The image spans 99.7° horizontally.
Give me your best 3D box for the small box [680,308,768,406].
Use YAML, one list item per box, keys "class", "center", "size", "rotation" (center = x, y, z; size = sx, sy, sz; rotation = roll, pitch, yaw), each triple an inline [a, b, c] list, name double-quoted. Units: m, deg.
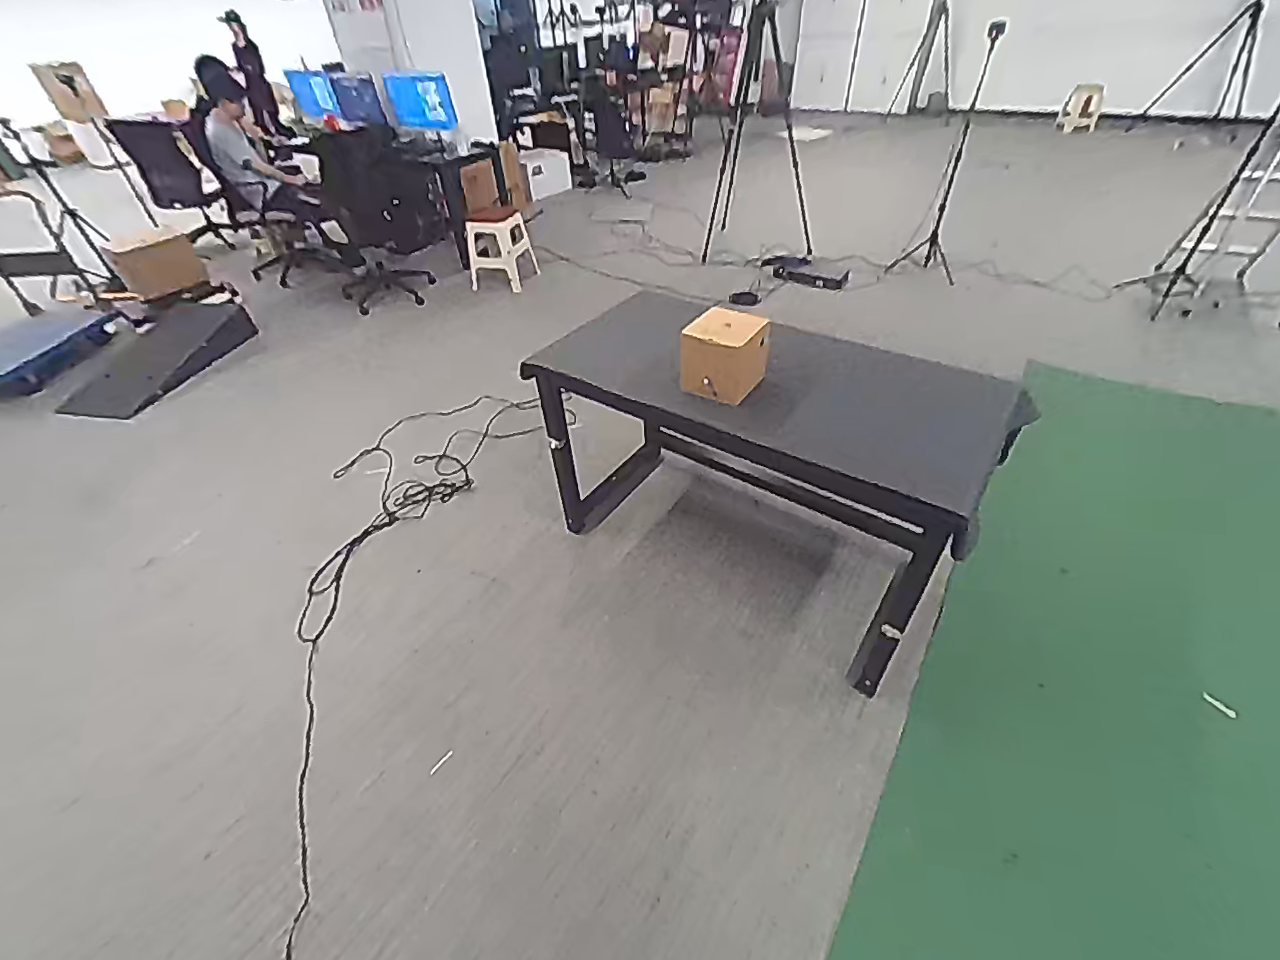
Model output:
- class: "small box"
  center: [0.211, -0.320, 1.400]
  size: [0.168, 0.176, 0.179]
  rotation: [22, 47, 26]
